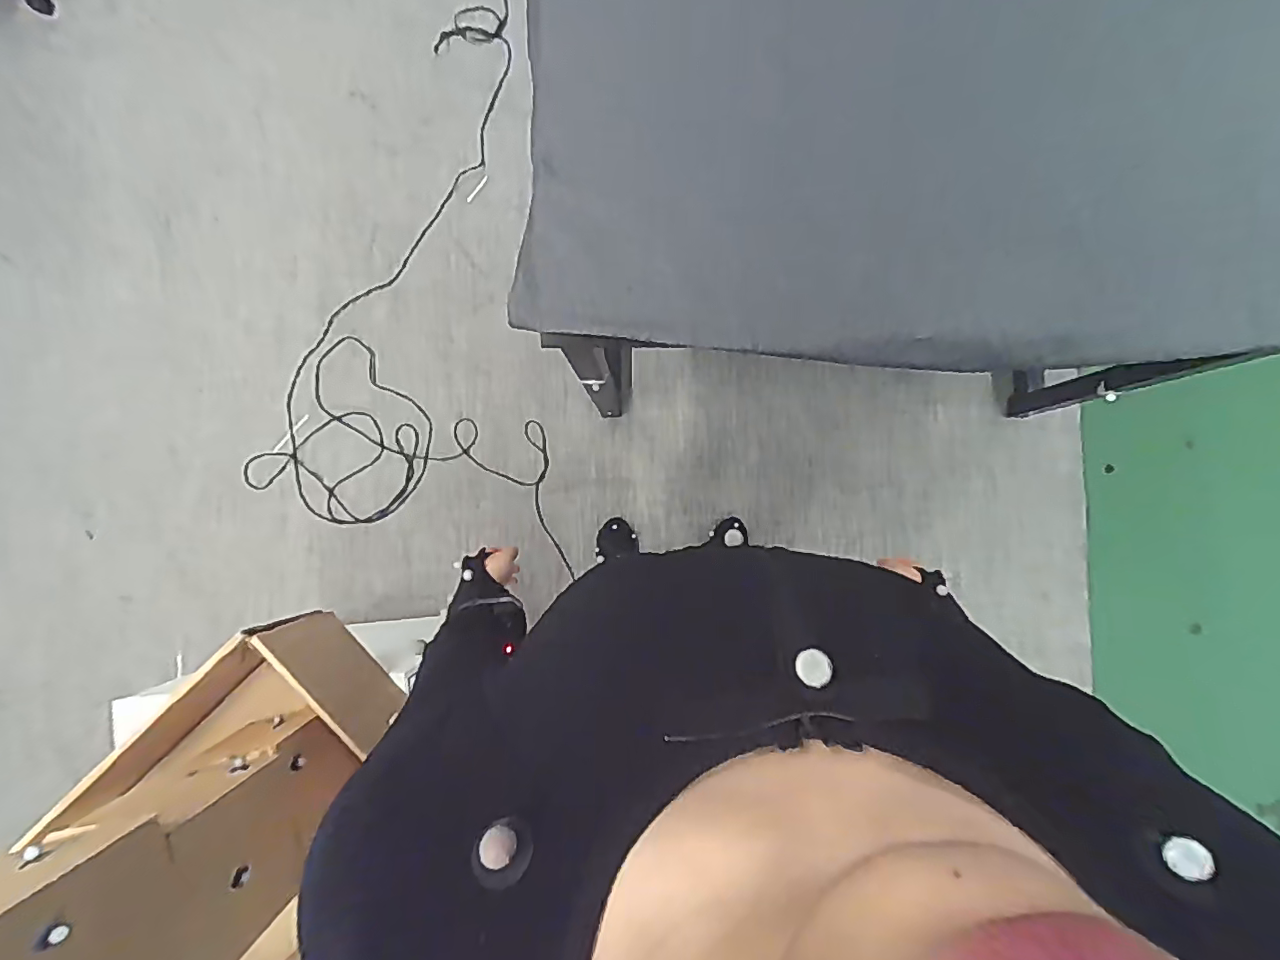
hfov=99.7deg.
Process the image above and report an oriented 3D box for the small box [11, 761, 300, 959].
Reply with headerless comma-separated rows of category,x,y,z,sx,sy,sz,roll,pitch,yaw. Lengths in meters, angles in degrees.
small box,-0.528,0.446,0.615,0.168,0.176,0.179,-10,90,2
